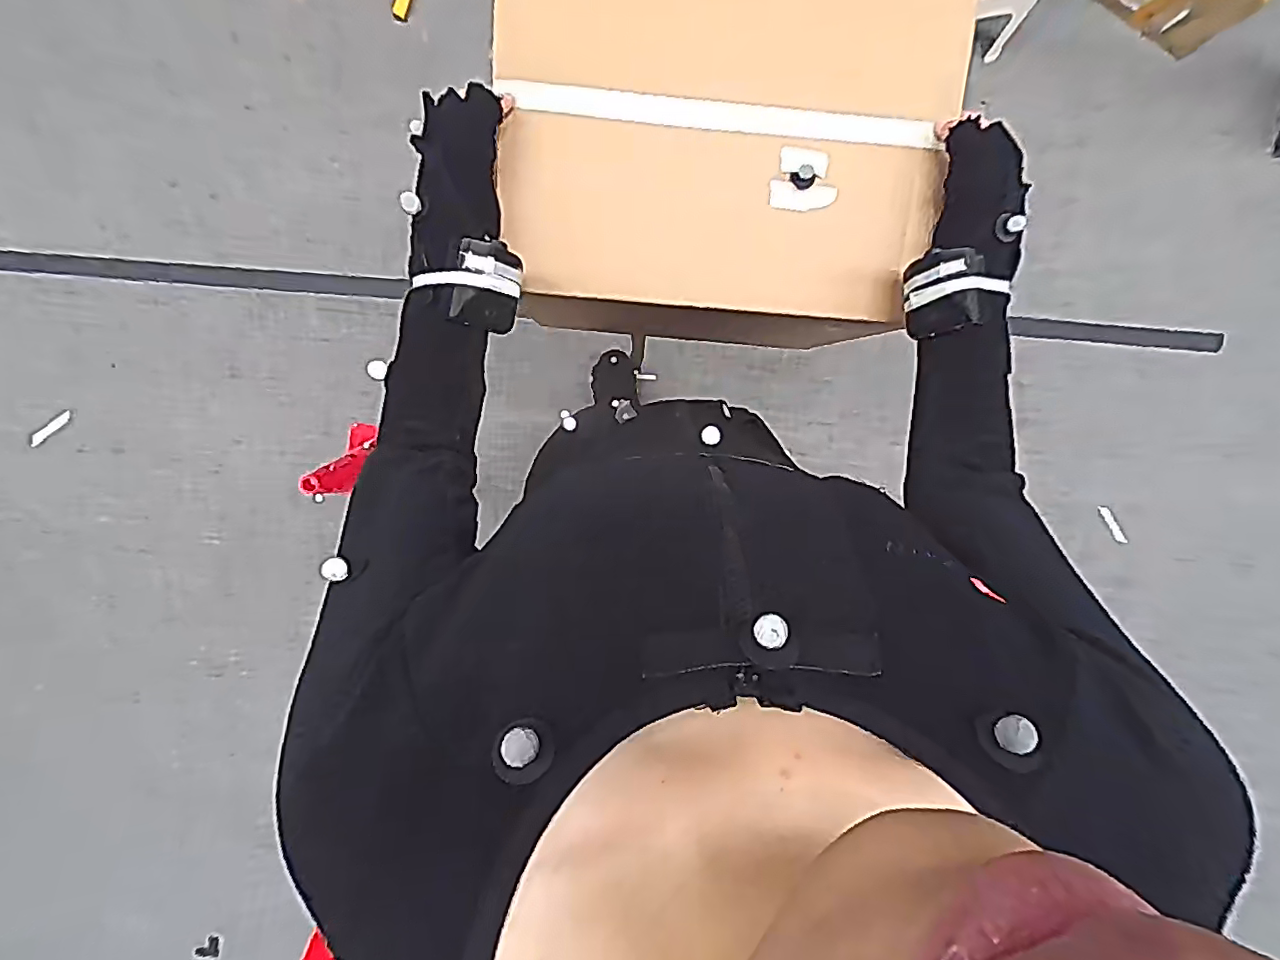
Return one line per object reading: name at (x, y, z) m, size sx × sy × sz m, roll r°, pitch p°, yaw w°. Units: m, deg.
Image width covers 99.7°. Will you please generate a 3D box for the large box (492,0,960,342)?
large box at (0.063, -0.340, 0.617) m, size 0.408 × 0.320 × 0.320 m, roll 4°, pitch 100°, yaw -4°
